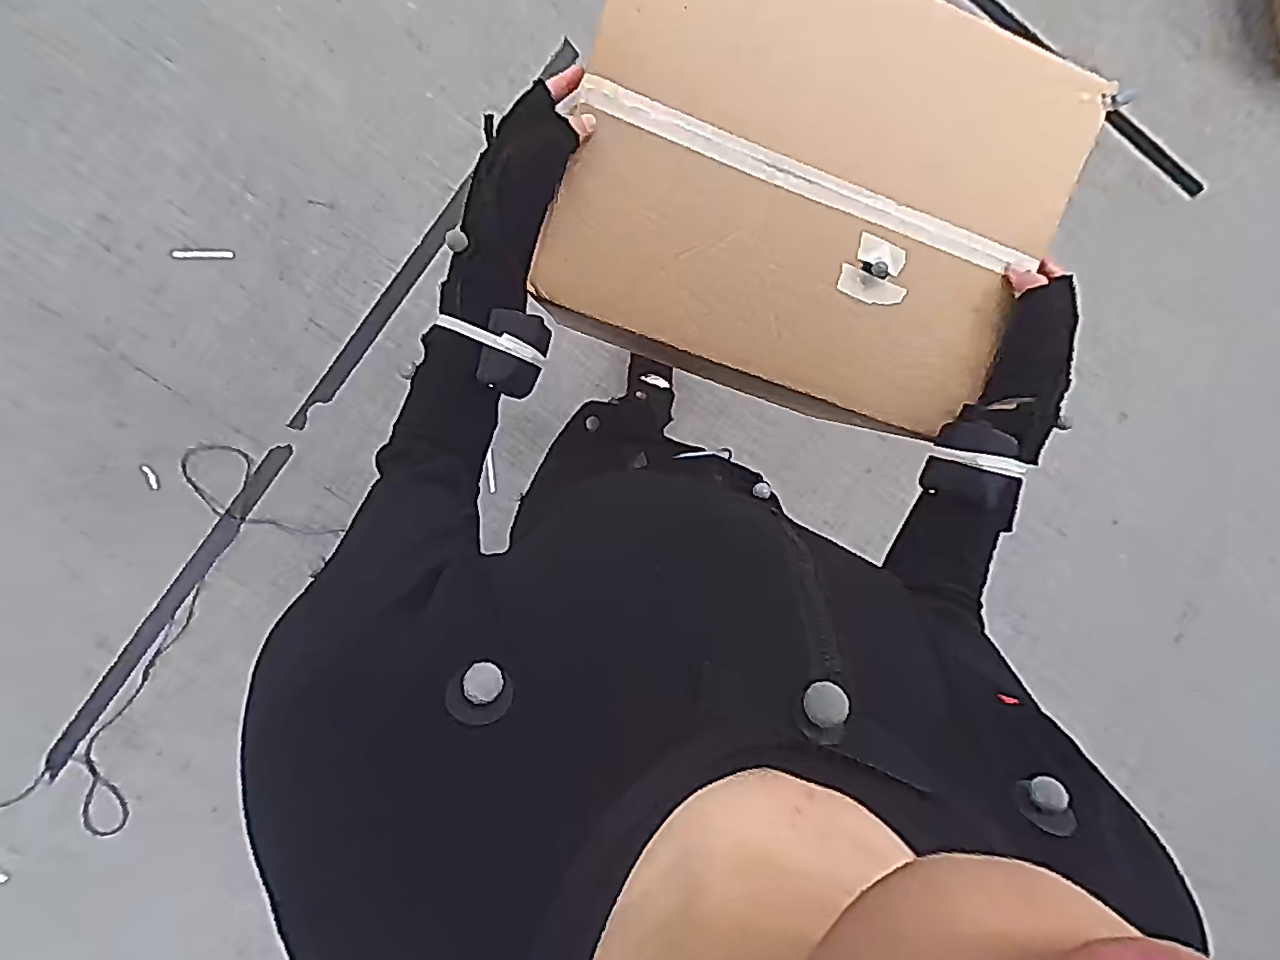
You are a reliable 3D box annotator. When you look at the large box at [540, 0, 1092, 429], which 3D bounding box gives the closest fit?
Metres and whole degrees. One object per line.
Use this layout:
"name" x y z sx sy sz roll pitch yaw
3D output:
"large box" 0.135 -0.276 0.597 0.408 0.320 0.320 18 101 -9
